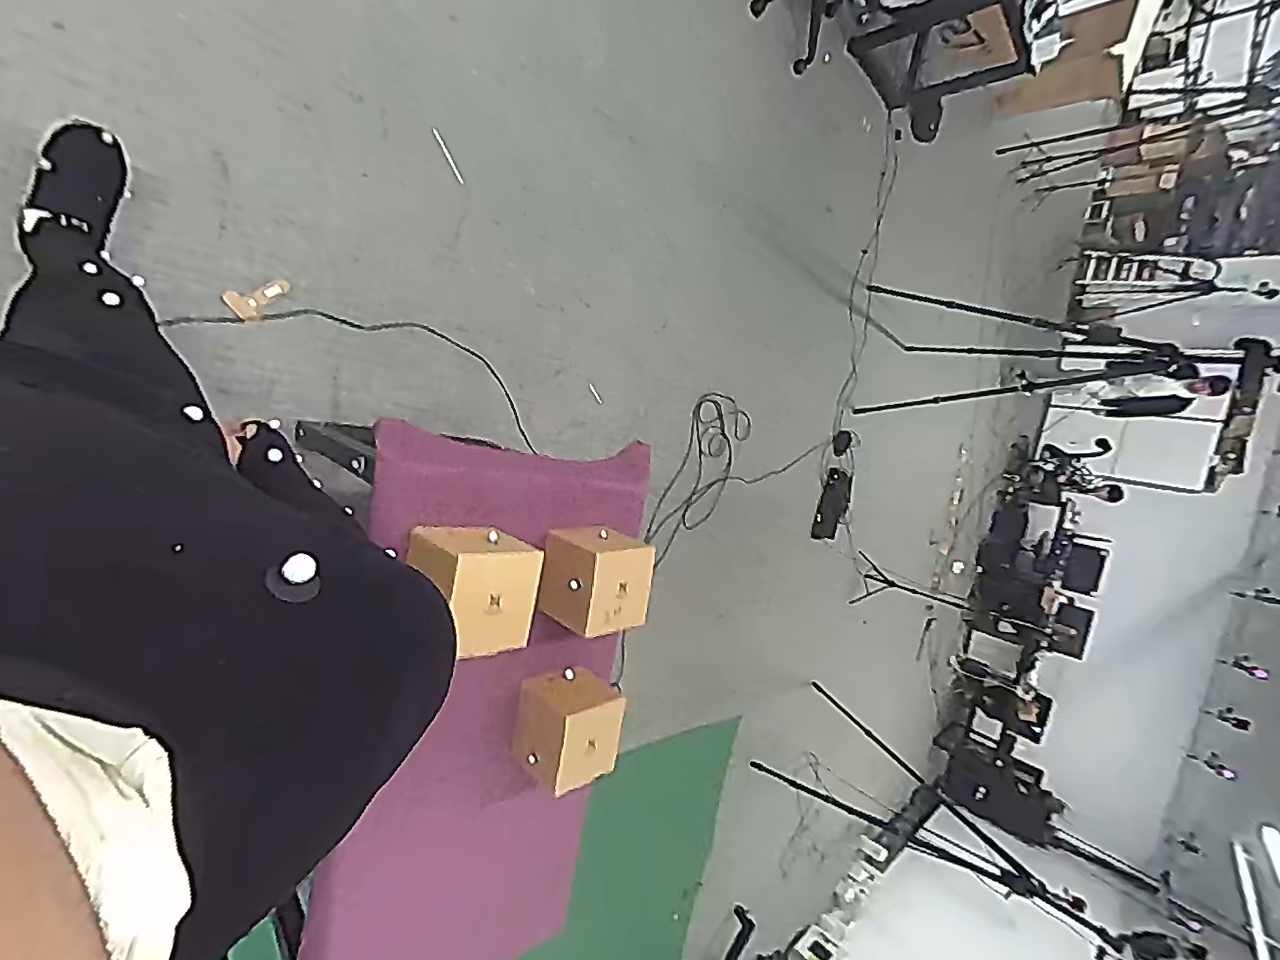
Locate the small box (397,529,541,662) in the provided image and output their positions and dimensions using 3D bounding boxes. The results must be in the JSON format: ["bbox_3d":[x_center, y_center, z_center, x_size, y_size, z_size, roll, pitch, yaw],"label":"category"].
[{"bbox_3d":[-0.299,0.187,0.938,0.168,0.176,0.179,6,98,-48],"label":"small box"}]

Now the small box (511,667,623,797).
[{"bbox_3d":[-0.164,0.538,1.180,0.168,0.176,0.179,4,98,-46],"label":"small box"}]

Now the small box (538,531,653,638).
[{"bbox_3d":[-0.098,0.209,1.147,0.168,0.176,0.179,2,101,-45],"label":"small box"}]
